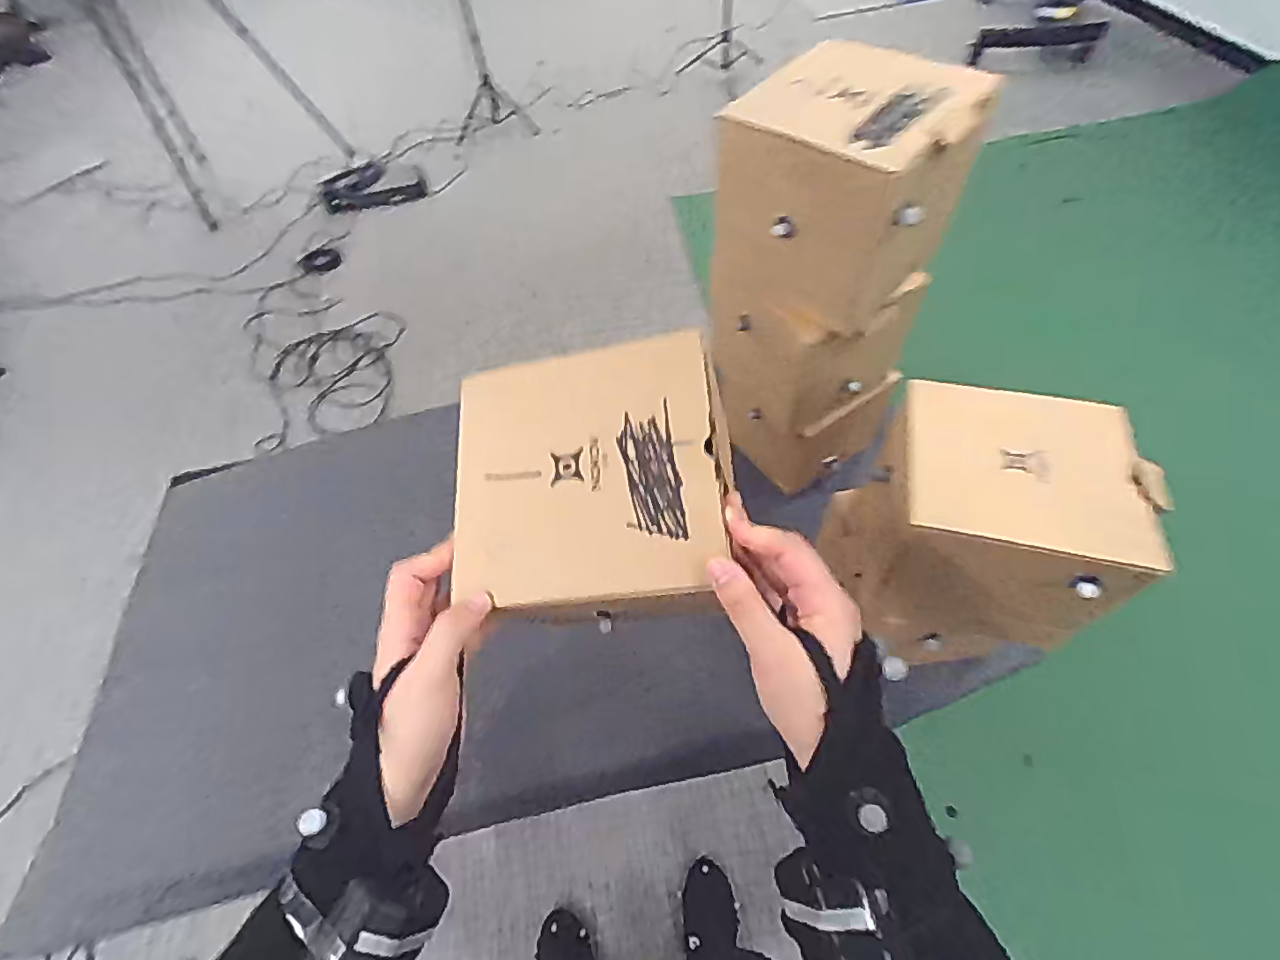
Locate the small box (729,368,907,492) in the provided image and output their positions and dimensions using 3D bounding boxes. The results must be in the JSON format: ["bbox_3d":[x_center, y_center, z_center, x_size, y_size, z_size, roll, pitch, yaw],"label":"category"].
[{"bbox_3d":[0.246,-0.114,0.801,0.168,0.176,0.179,-33,63,-11],"label":"small box"}]

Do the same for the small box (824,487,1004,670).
[{"bbox_3d":[0.331,0.116,0.645,0.179,0.176,0.168,-8,54,2],"label":"small box"}]

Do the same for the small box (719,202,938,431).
[{"bbox_3d":[0.210,-0.194,0.659,0.168,0.176,0.179,-30,60,-9],"label":"small box"}]

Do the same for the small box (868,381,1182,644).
[{"bbox_3d":[0.323,0.035,0.502,0.179,0.176,0.168,11,56,12],"label":"small box"}]
